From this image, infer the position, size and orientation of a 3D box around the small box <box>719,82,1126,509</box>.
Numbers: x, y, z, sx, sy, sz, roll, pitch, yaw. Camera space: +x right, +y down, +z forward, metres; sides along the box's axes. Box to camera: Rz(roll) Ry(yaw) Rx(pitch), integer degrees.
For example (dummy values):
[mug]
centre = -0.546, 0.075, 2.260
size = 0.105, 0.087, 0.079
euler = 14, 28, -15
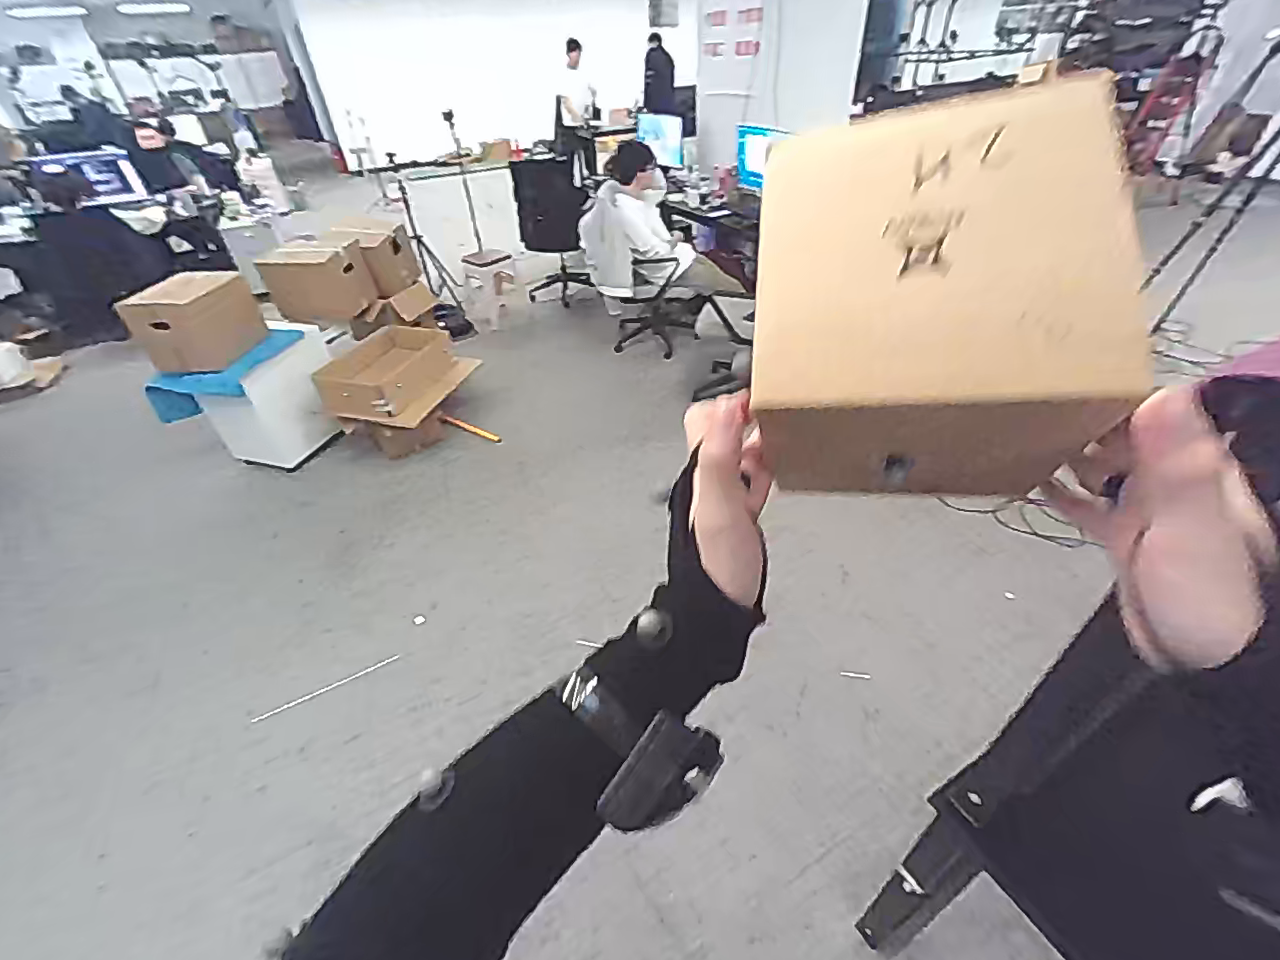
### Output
[small box]
centre = 0.152, -0.086, 0.332
size = 0.168, 0.176, 0.179
euler = 3, 74, 19
